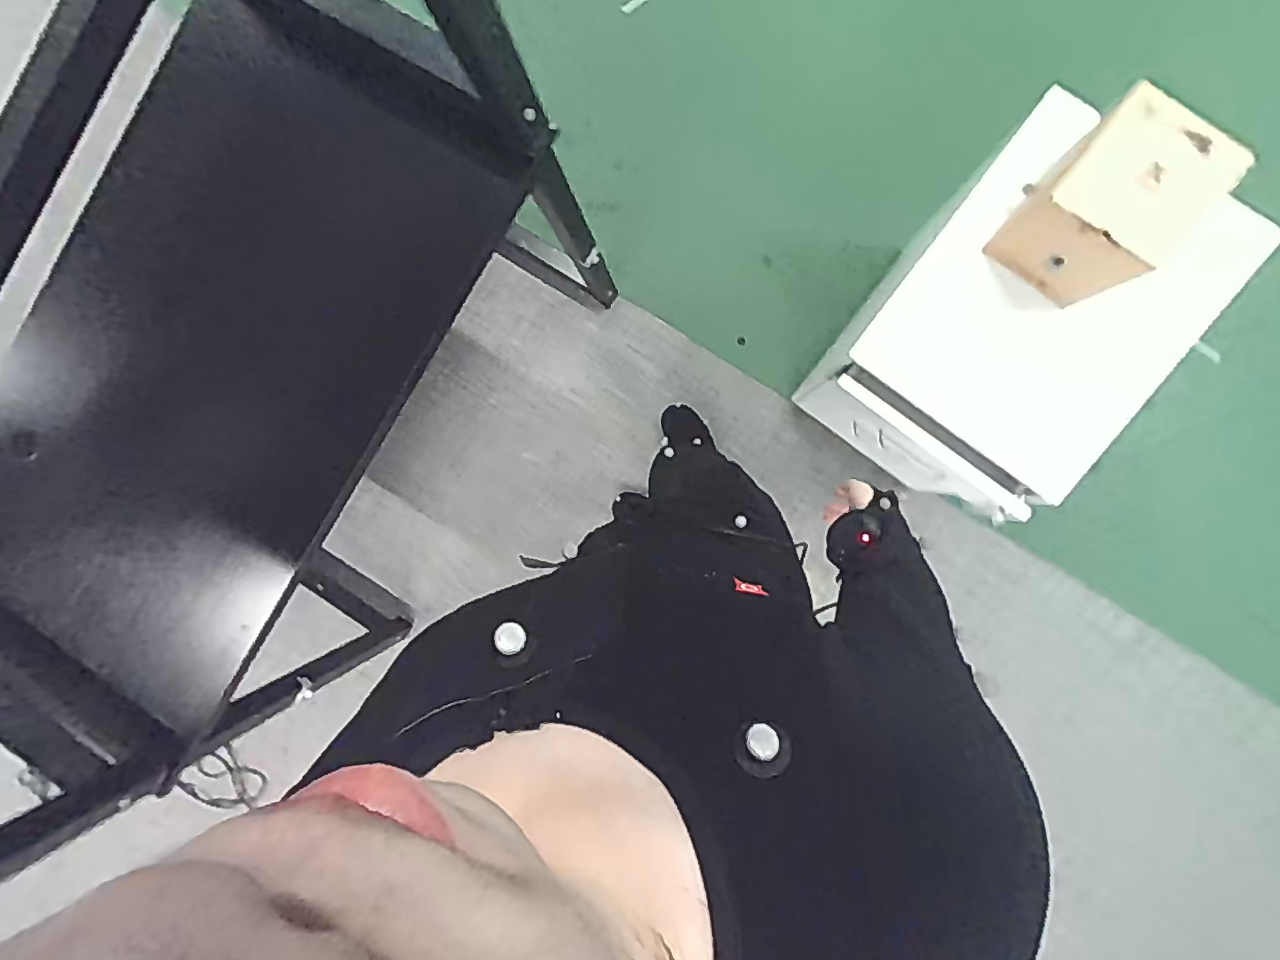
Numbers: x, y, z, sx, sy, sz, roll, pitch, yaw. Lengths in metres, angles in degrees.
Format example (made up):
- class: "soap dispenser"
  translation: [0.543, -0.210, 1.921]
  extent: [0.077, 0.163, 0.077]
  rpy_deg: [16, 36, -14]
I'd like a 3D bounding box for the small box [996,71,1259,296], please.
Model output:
- class: "small box"
  translation: [0.630, -0.381, 0.734]
  extent: [0.168, 0.176, 0.179]
  rpy_deg: [37, 96, 3]
